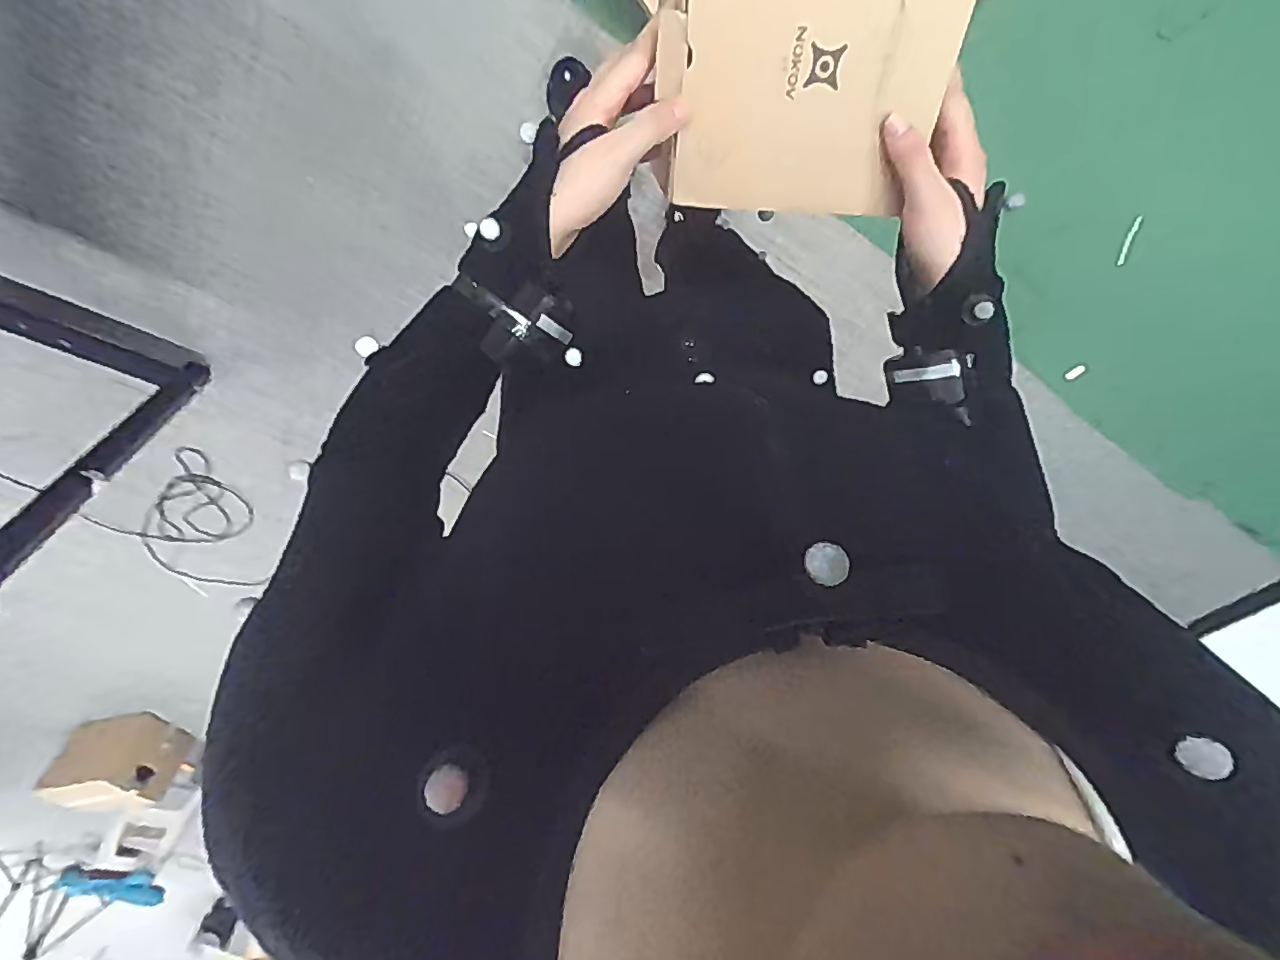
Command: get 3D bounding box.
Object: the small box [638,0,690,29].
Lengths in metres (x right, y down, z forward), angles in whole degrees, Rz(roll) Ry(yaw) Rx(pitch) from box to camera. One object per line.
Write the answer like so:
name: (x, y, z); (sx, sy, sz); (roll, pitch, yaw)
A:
small box: (0.045, -0.879, 0.871); (0.179, 0.176, 0.168); (-34, 126, 24)
